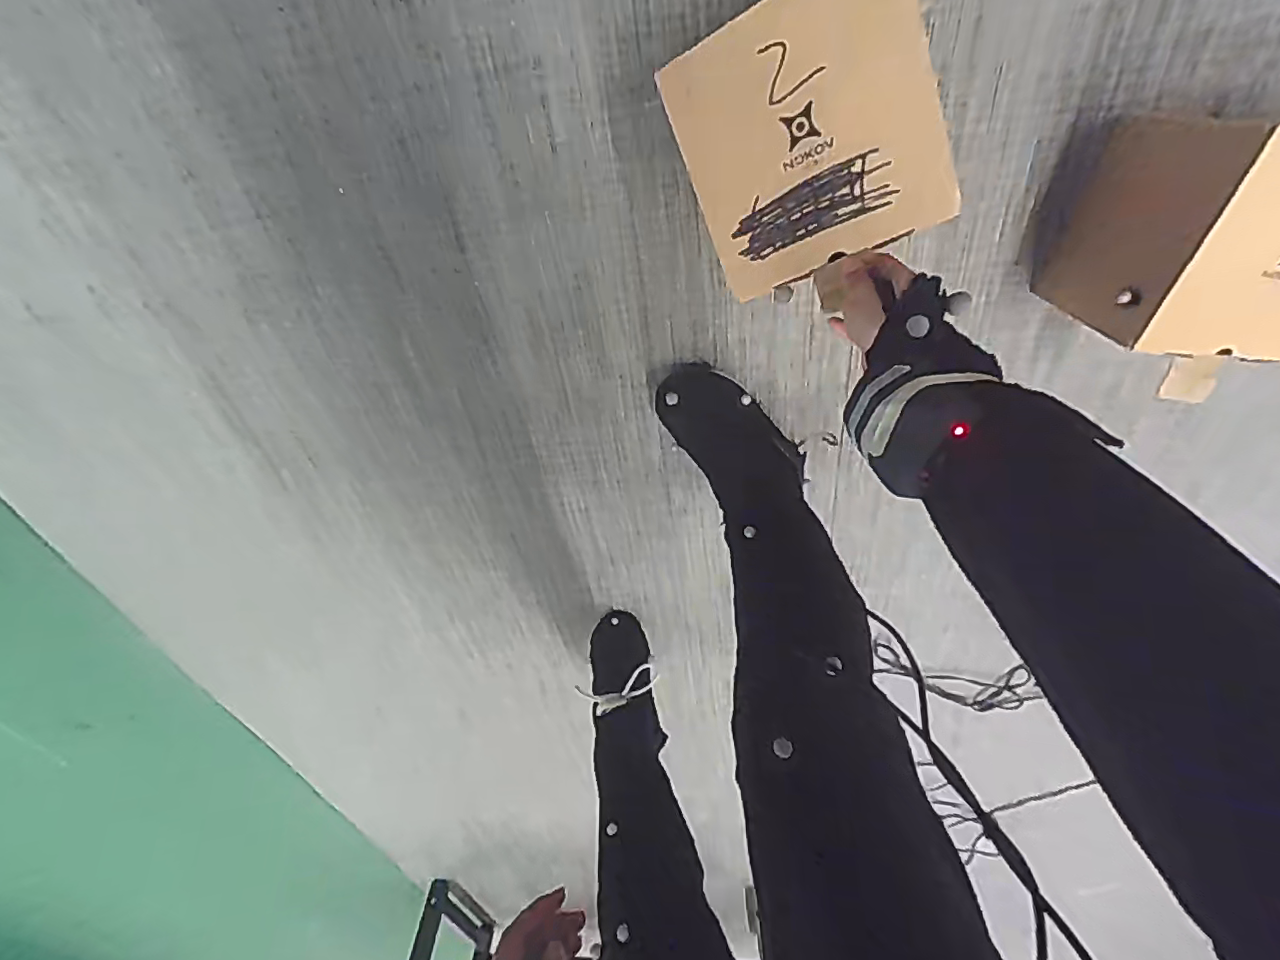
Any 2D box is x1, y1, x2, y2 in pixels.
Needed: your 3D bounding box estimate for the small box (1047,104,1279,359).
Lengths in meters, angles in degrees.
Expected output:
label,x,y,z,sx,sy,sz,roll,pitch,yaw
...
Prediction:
label,x,y,z,sx,sy,sz,roll,pitch,yaw
small box,0.523,-0.227,0.487,0.168,0.176,0.179,4,127,0
